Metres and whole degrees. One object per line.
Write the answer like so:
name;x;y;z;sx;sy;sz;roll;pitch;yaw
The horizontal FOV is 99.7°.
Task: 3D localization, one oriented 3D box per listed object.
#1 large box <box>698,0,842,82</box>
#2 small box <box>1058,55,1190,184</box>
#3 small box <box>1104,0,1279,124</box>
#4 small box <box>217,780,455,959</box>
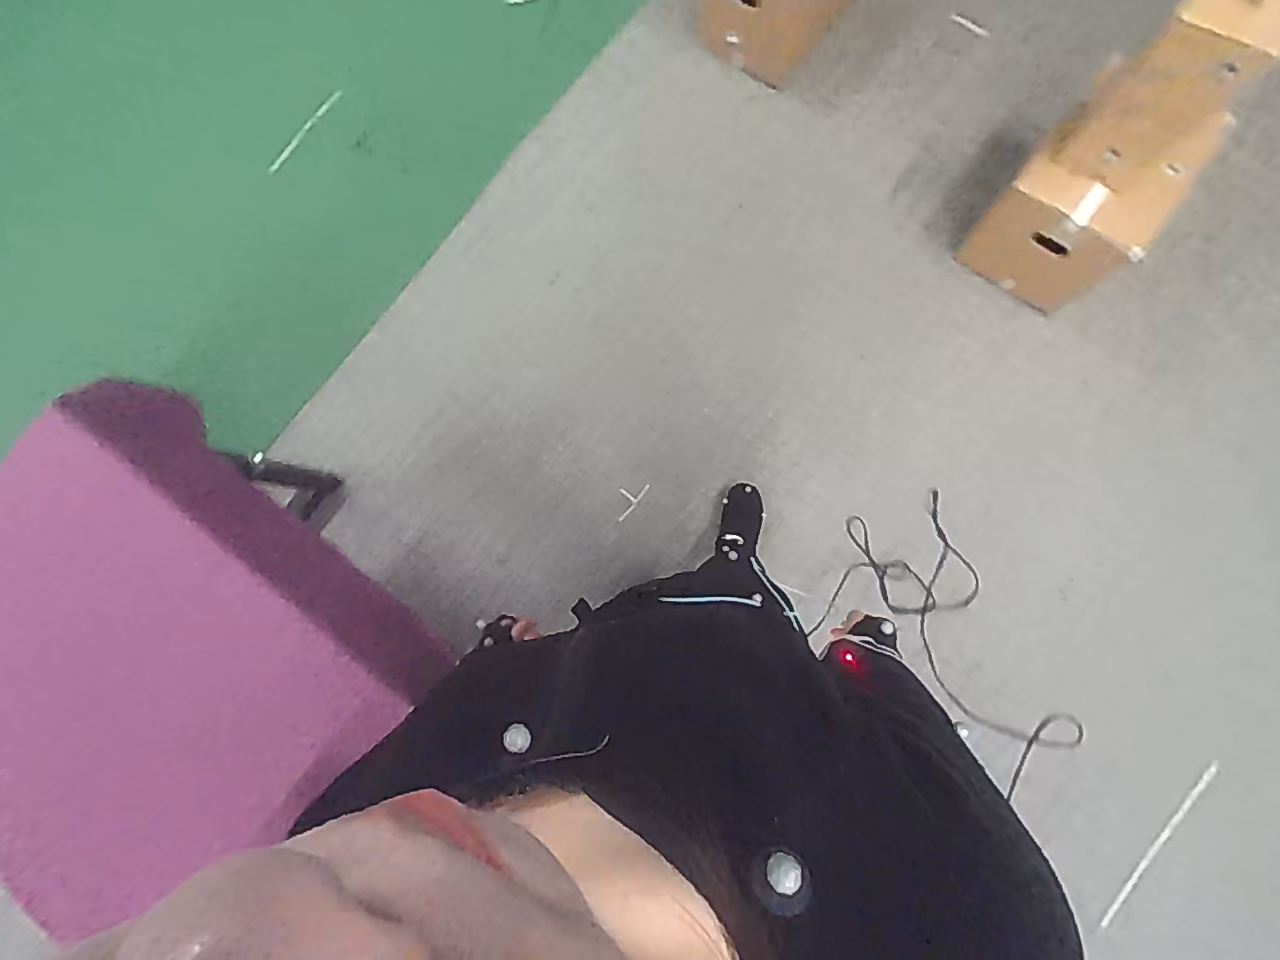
large box;0.399;-1.462;1.529;0.320;0.320;0.408;37;87;9
small box;1.036;-0.771;1.137;0.168;0.176;0.179;33;88;10
small box;1.013;-0.791;0.974;0.179;0.176;0.168;33;87;10
small box;-0.378;0.543;0.706;0.168;0.176;0.179;37;88;9
